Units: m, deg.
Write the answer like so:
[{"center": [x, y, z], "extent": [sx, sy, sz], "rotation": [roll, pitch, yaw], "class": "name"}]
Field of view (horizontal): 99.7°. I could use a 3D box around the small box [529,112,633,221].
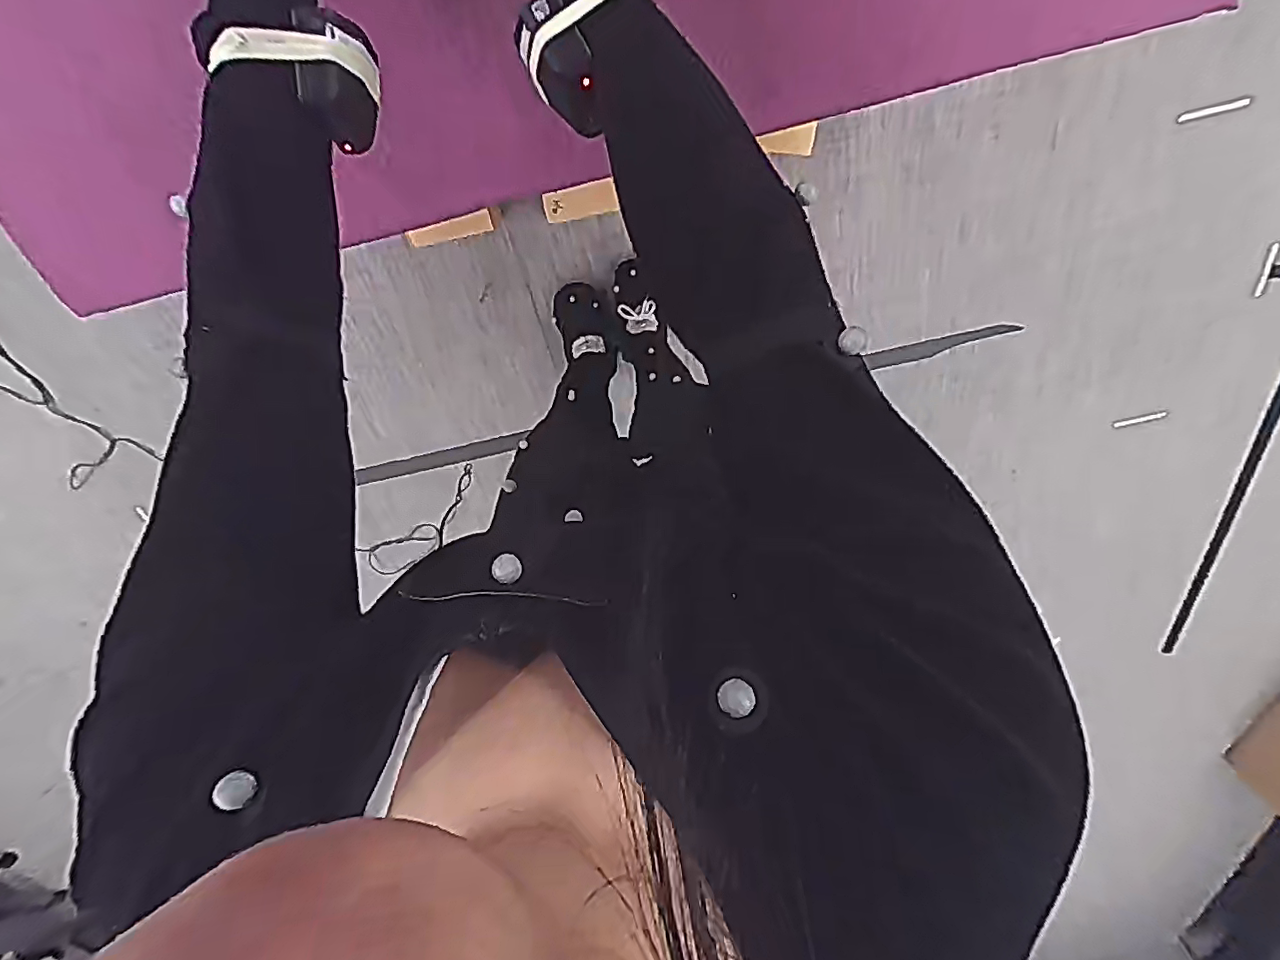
[{"center": [-0.116, -0.640, 1.102], "extent": [0.179, 0.176, 0.168], "rotation": [-10, 123, 1], "class": "small box"}]
